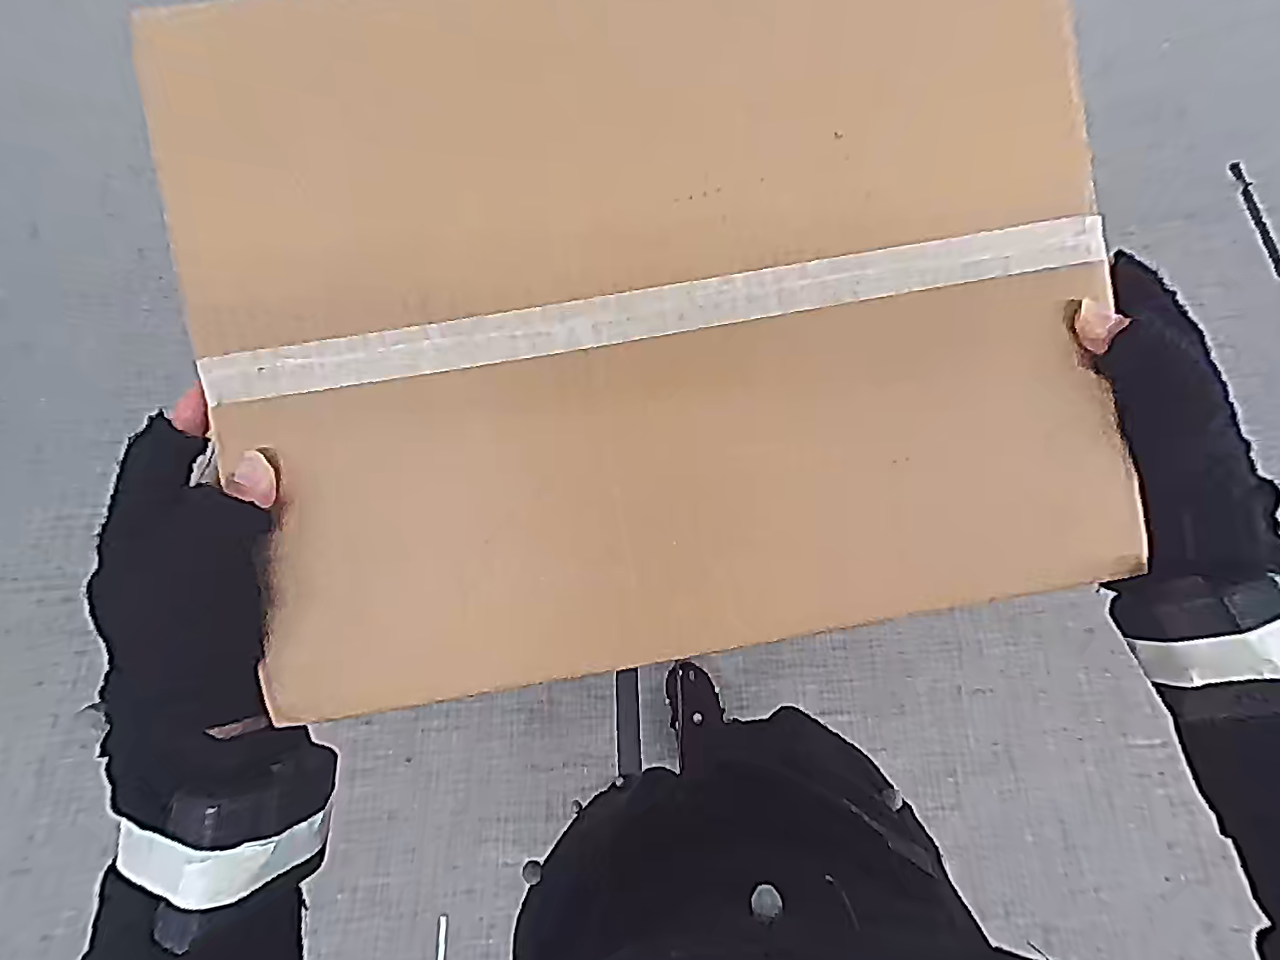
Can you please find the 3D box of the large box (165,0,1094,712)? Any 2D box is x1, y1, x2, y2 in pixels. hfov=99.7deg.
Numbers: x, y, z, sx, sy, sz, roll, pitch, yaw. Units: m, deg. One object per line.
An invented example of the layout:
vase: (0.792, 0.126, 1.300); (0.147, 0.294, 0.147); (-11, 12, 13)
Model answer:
large box: (0.002, -0.081, 0.403); (0.408, 0.320, 0.320); (-10, 92, -2)
